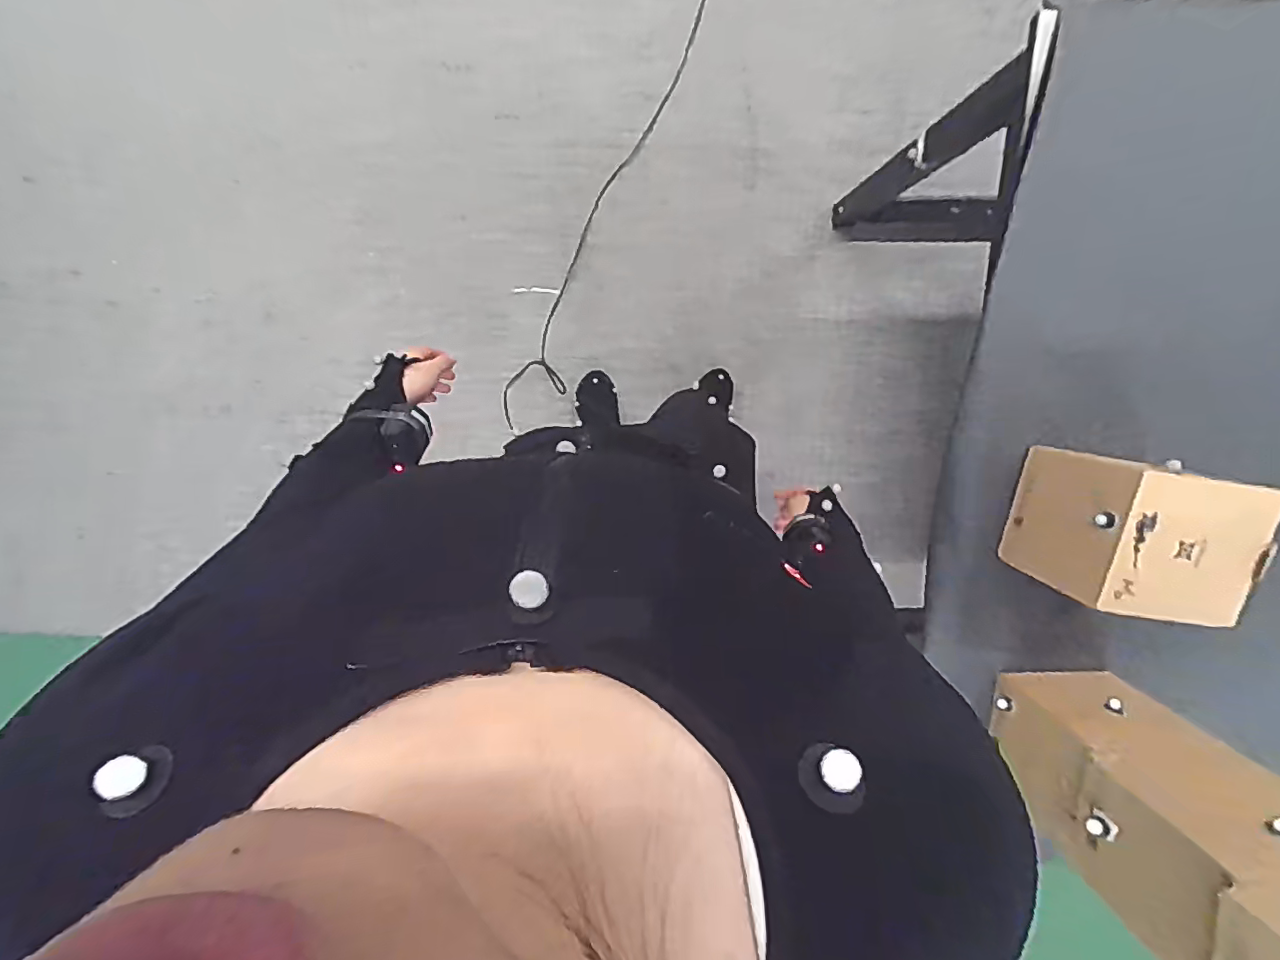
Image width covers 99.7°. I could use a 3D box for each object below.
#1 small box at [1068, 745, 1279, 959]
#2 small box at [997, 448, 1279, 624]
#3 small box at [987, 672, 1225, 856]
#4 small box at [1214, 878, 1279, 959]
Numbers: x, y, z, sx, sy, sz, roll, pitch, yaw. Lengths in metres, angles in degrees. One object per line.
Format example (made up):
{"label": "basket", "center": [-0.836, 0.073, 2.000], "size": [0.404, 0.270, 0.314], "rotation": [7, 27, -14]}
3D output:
{"label": "small box", "center": [0.623, 0.414, 0.588], "size": [0.179, 0.176, 0.168], "rotation": [-3, 100, -1]}
{"label": "small box", "center": [0.606, 0.060, 0.681], "size": [0.179, 0.176, 0.168], "rotation": [8, 101, -5]}
{"label": "small box", "center": [0.621, 0.382, 0.747], "size": [0.179, 0.176, 0.168], "rotation": [0, 101, -4]}
{"label": "small box", "center": [0.622, 0.448, 0.425], "size": [0.179, 0.176, 0.168], "rotation": [-6, 100, -1]}
